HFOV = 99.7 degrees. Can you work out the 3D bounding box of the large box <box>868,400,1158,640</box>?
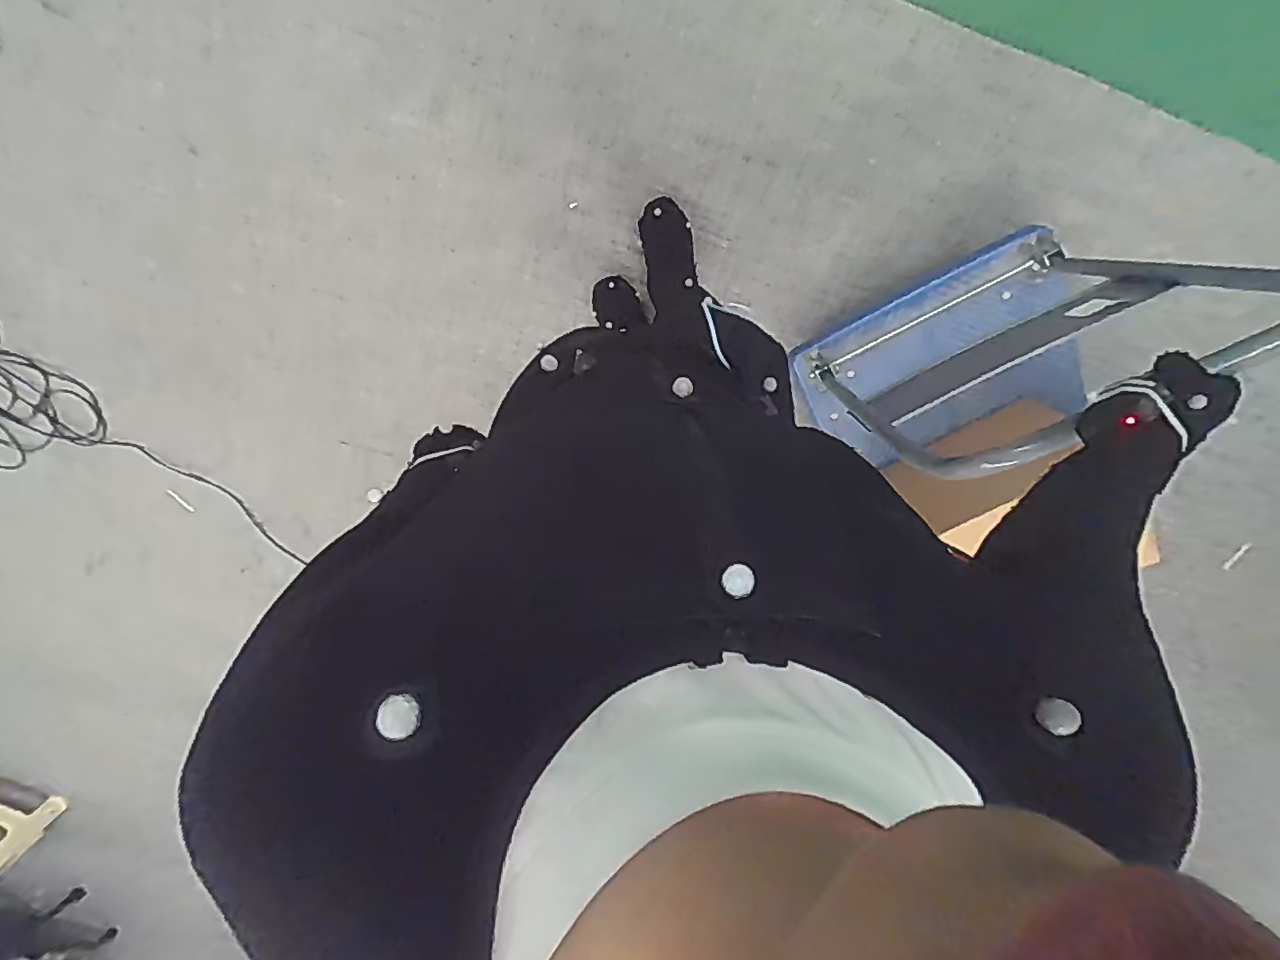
[{"bbox_3d":[0.819,0.083,1.239,0.408,0.320,0.320,-31,113,13],"label":"large box"}]
